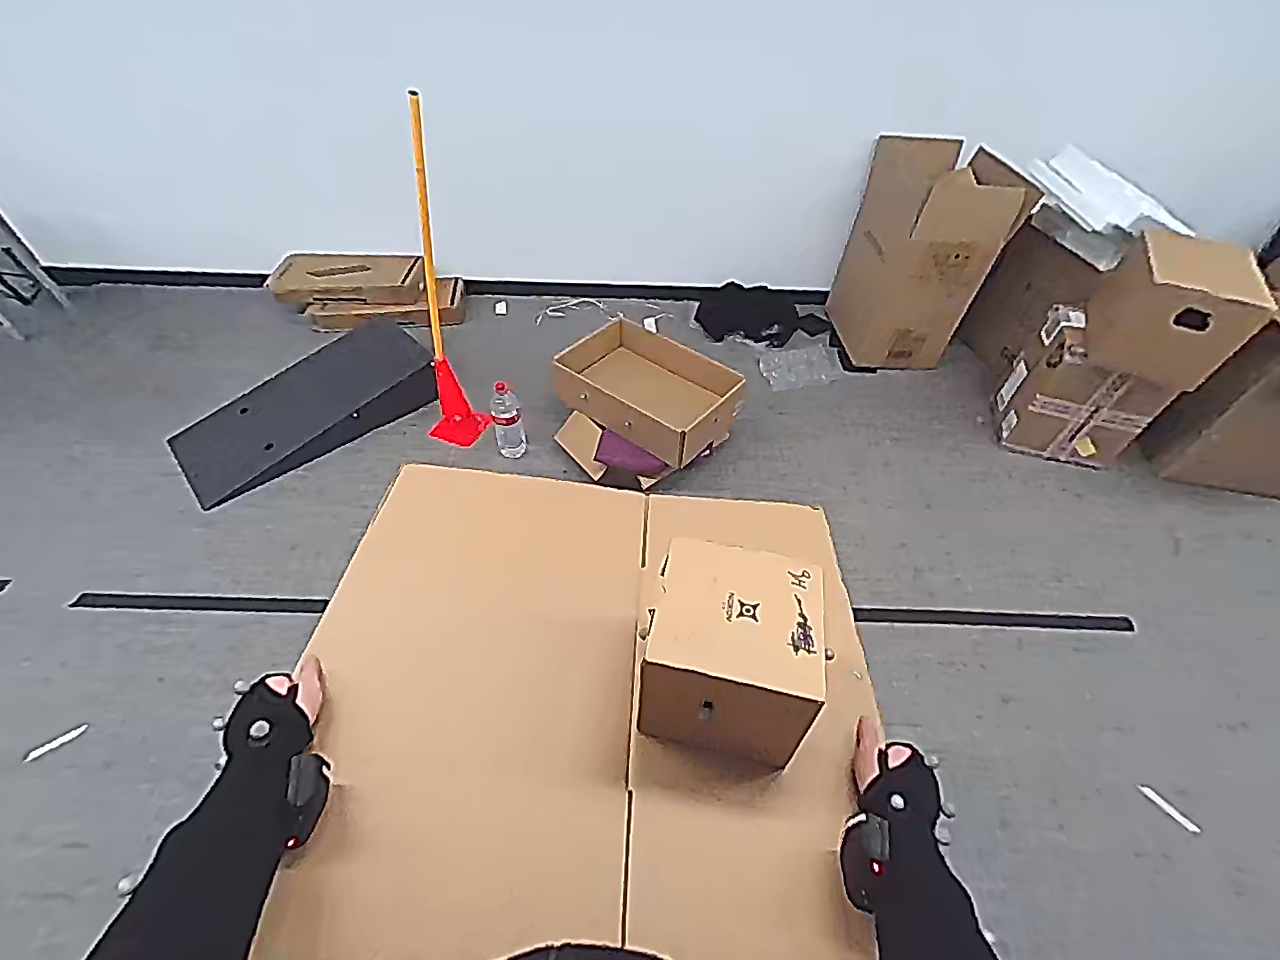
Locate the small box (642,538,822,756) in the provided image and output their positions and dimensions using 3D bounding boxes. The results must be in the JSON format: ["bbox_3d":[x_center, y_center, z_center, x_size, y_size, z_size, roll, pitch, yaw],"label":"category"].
[{"bbox_3d":[0.103,0.195,0.629,0.179,0.176,0.168,9,44,8],"label":"small box"}]
